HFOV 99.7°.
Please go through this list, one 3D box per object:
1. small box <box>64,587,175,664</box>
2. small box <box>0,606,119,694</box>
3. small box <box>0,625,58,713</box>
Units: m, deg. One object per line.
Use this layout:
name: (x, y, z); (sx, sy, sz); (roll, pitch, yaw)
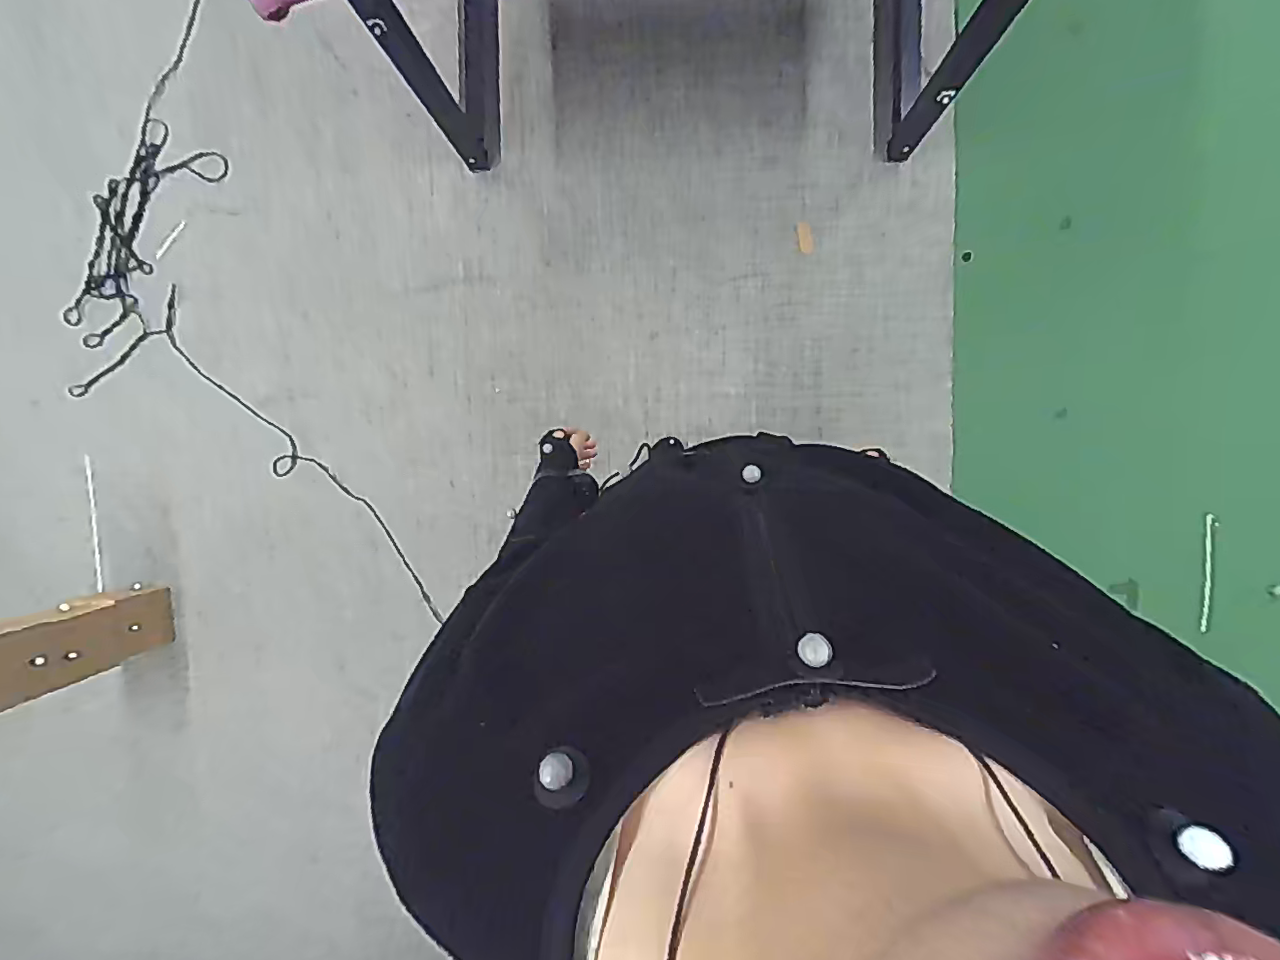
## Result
small box: (-1.496, 0.417, 1.564); (0.168, 0.176, 0.179); (-2, 92, 4)
small box: (-1.507, 0.435, 1.401); (0.168, 0.176, 0.179); (-2, 92, 3)
small box: (-1.504, 0.437, 1.237); (0.168, 0.176, 0.179); (-4, 92, 4)
